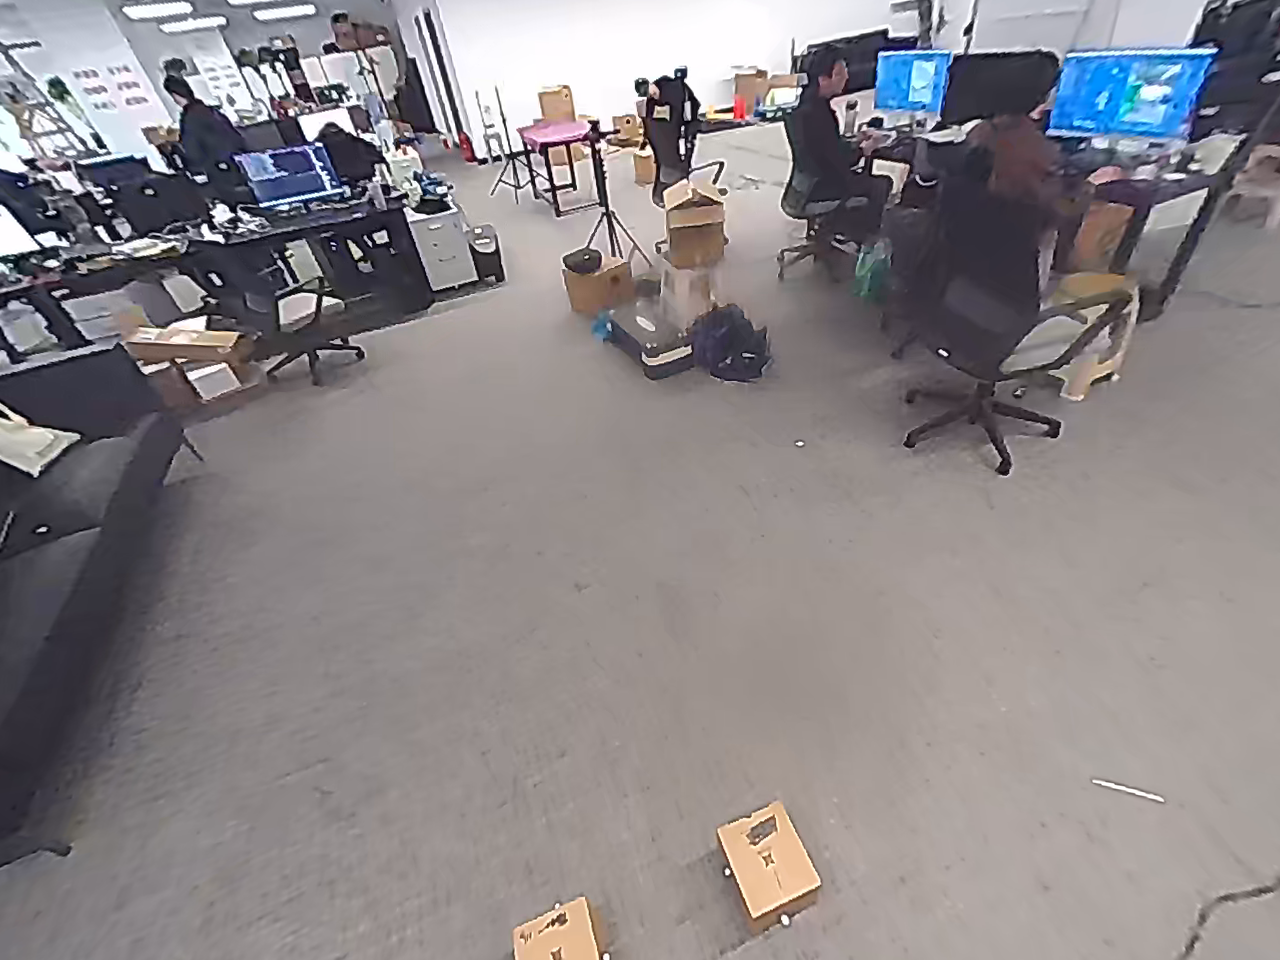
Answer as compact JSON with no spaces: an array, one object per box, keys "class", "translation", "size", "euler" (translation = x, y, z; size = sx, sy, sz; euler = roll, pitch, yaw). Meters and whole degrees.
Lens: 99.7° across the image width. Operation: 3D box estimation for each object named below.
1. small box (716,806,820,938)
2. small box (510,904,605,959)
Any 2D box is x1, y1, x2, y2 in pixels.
[{"class":"small box","translation":[0.283,0.891,1.229],"size":[0.168,0.176,0.179],"euler":[-19,41,-10]},{"class":"small box","translation":[-0.159,1.042,1.132],"size":[0.168,0.176,0.179],"euler":[-18,40,-11]}]
